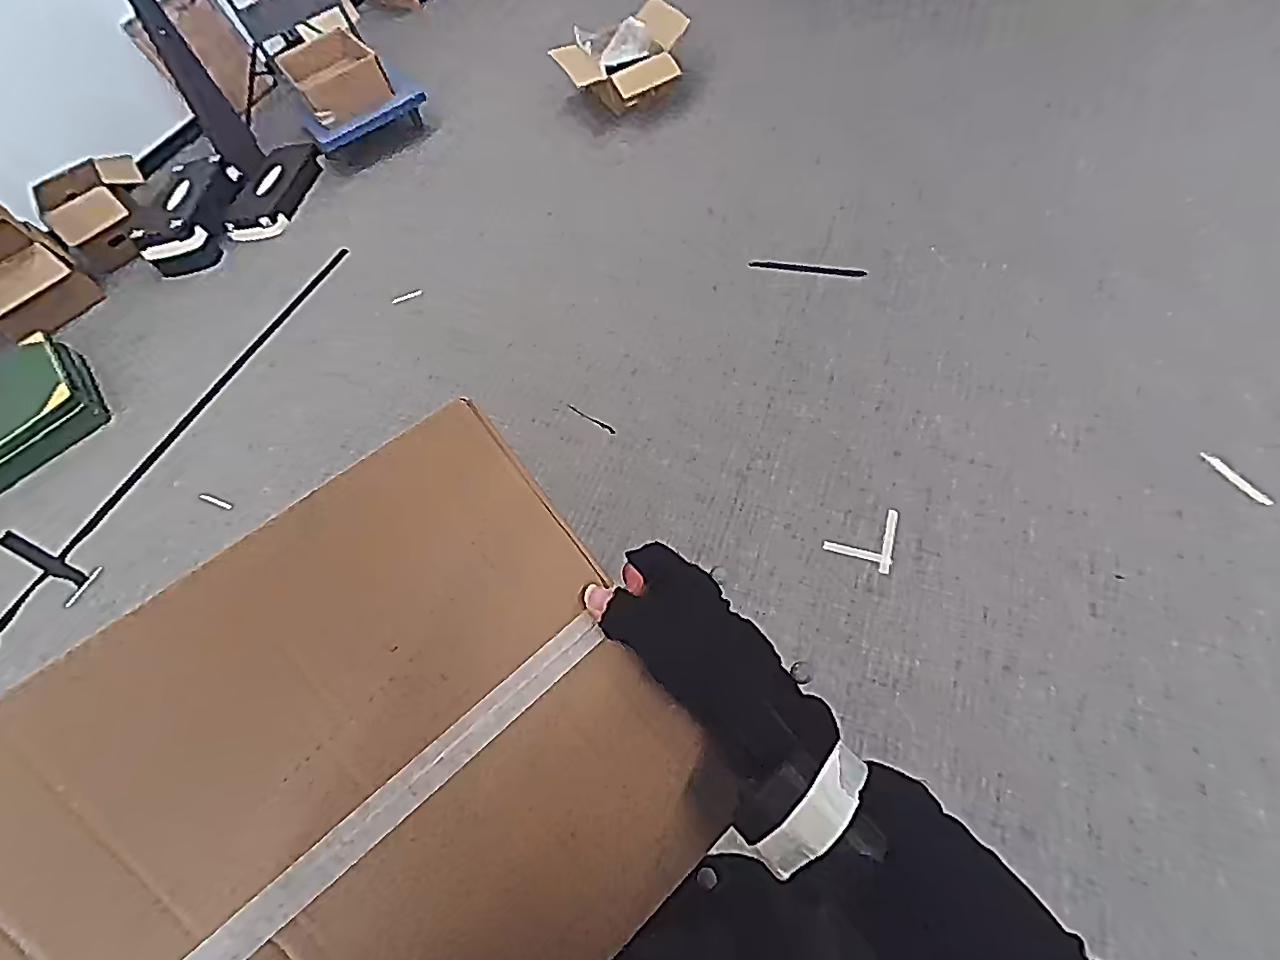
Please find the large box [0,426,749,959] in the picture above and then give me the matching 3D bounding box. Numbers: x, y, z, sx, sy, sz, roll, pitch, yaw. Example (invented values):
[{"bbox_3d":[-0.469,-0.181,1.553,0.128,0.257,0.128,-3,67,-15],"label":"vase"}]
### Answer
[{"bbox_3d":[-0.202,0.214,0.431,0.408,0.320,0.320,-39,96,-16],"label":"large box"}]
